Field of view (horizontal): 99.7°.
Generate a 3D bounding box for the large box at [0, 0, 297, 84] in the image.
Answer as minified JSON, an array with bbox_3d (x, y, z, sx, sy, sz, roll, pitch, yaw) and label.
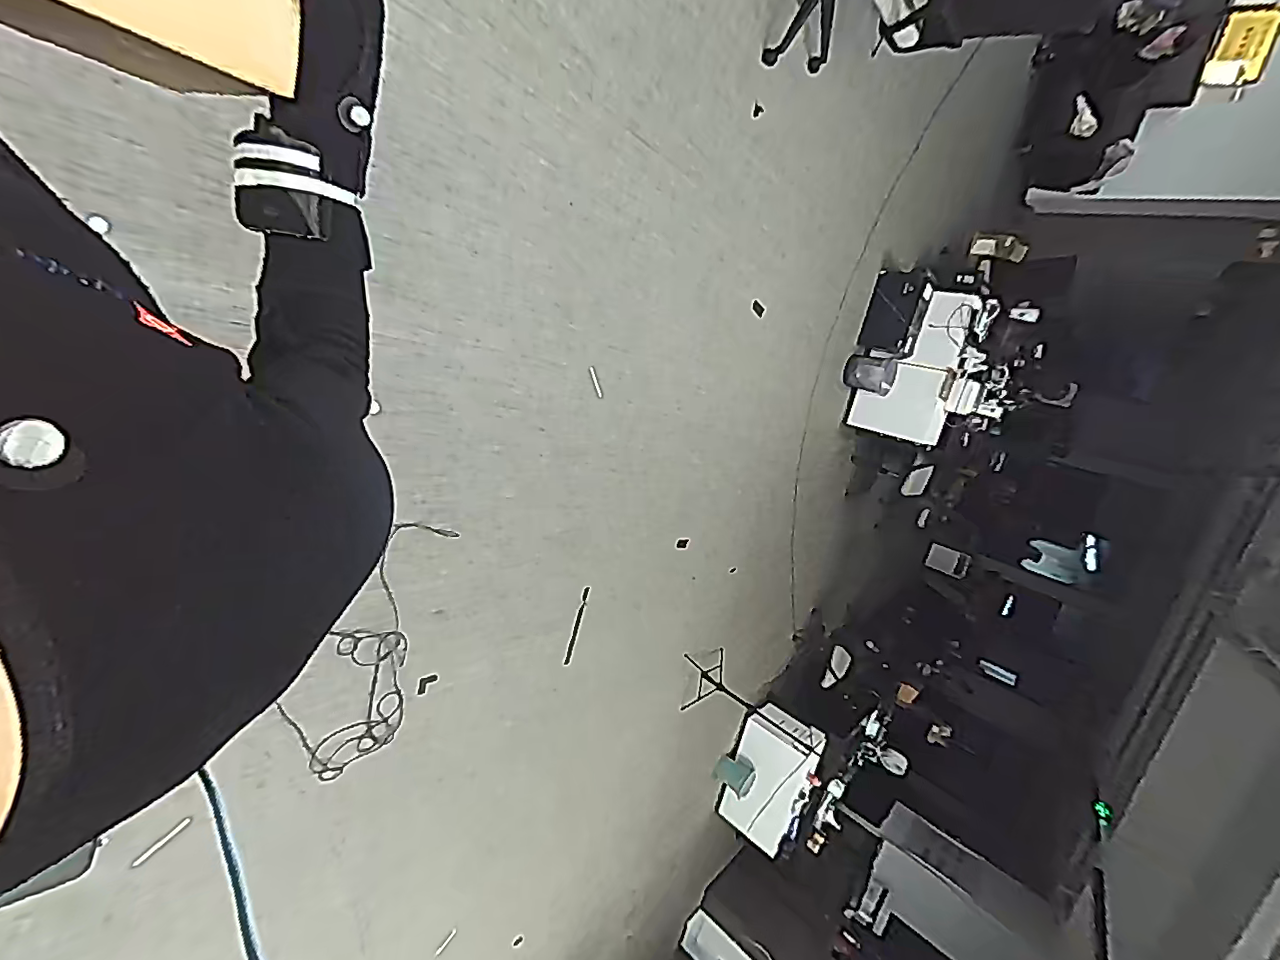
[{"bbox_3d":[-0.438,-0.461,0.263,0.408,0.320,0.320,-6,119,-51],"label":"large box"}]
